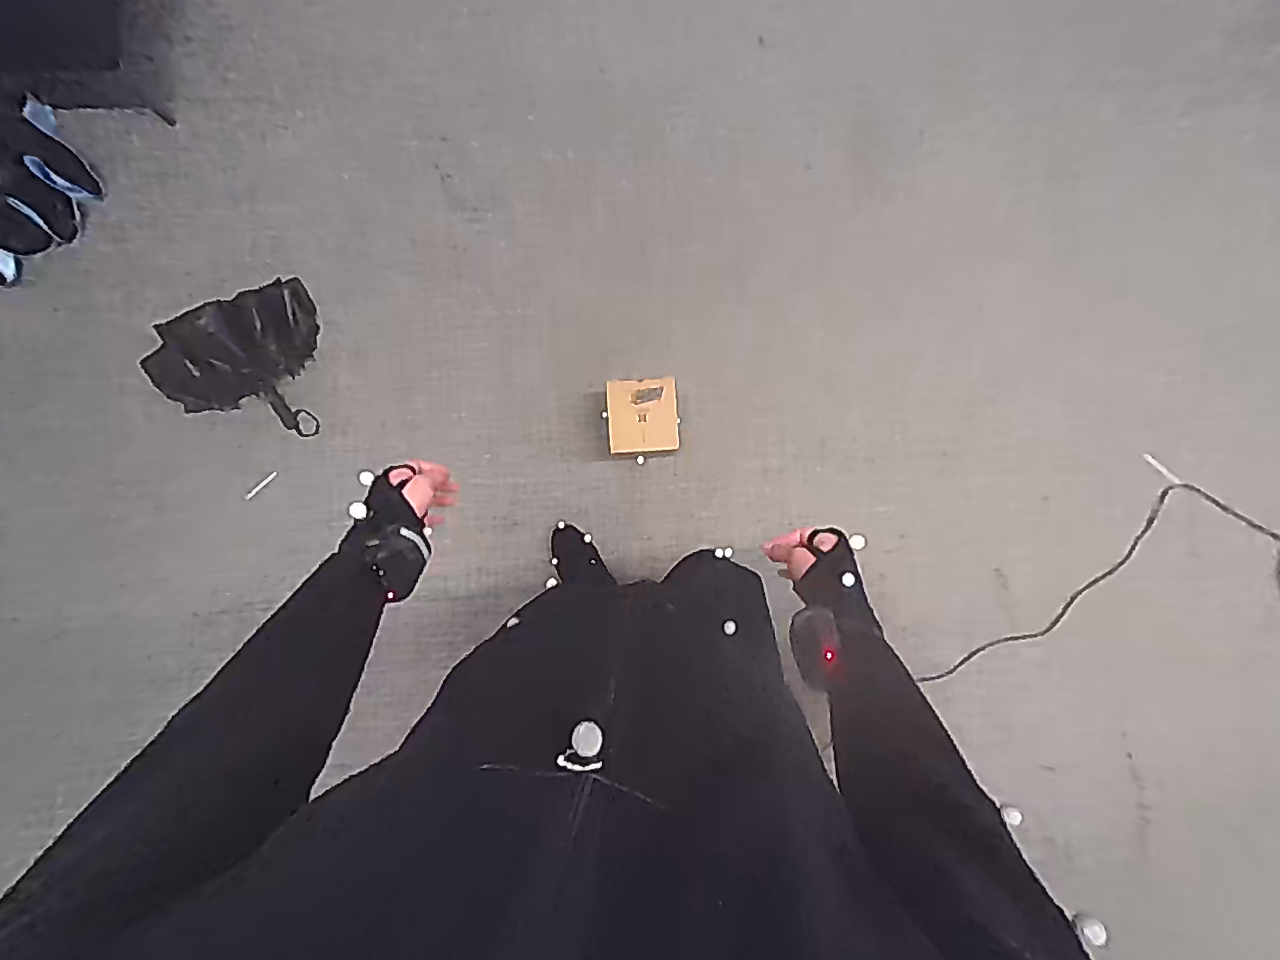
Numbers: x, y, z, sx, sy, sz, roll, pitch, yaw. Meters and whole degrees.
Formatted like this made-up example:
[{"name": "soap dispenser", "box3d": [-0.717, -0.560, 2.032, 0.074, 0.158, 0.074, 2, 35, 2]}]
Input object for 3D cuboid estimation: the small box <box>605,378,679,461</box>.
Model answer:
[{"name": "small box", "box3d": [0.000, -0.144, 1.329, 0.168, 0.176, 0.179, -4, 88, -2]}]
